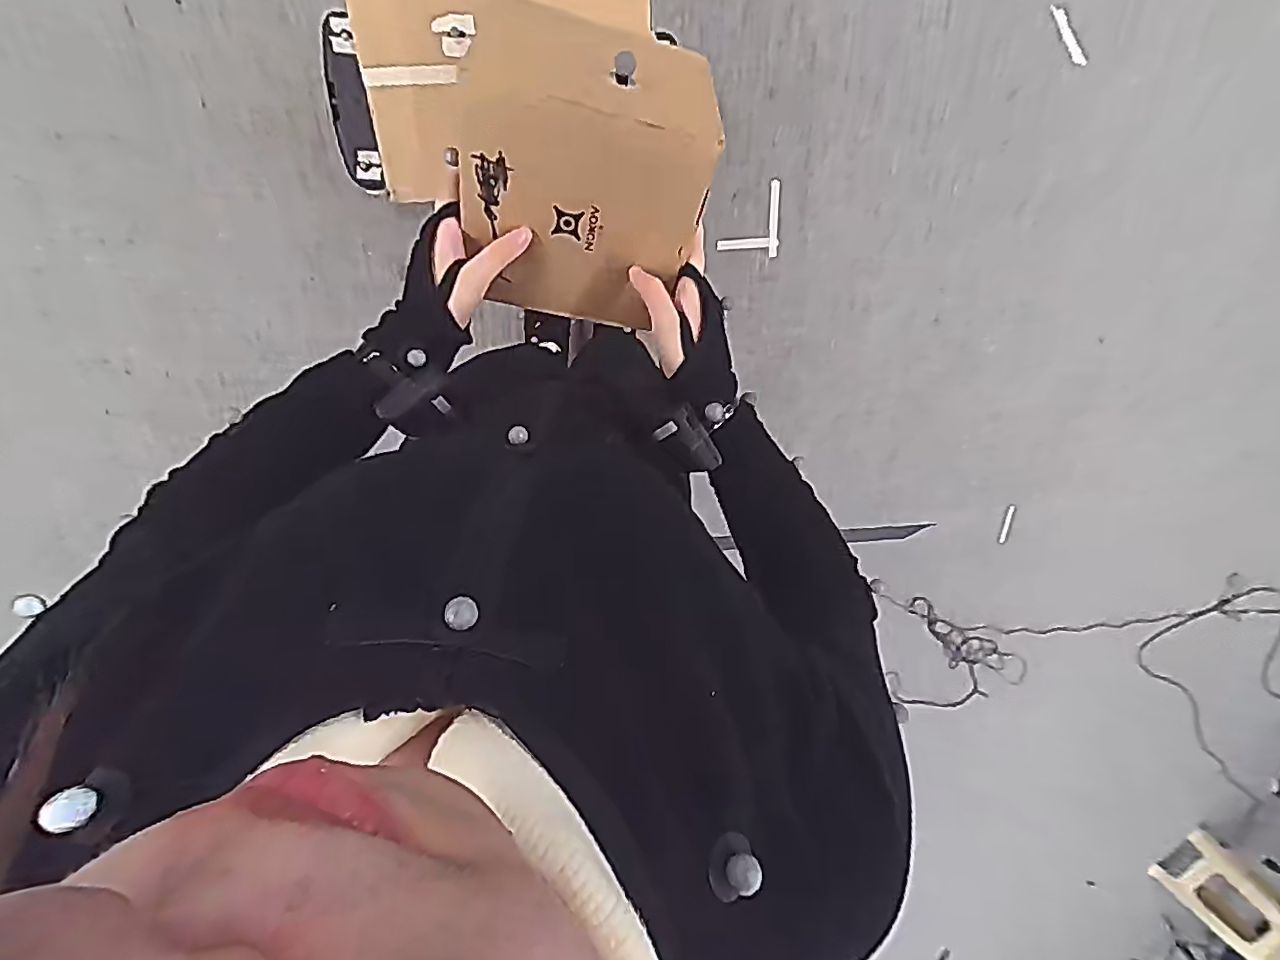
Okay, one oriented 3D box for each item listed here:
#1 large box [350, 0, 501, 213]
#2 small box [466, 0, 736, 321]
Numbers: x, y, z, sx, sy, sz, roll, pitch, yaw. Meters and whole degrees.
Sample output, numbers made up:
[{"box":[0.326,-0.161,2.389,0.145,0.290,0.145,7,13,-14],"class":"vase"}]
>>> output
[{"box":[-0.197,-0.633,0.900,0.408,0.320,0.320,-6,113,-5],"class":"large box"},{"box":[-0.041,-0.262,0.446,0.179,0.176,0.168,7,142,-12],"class":"small box"}]
